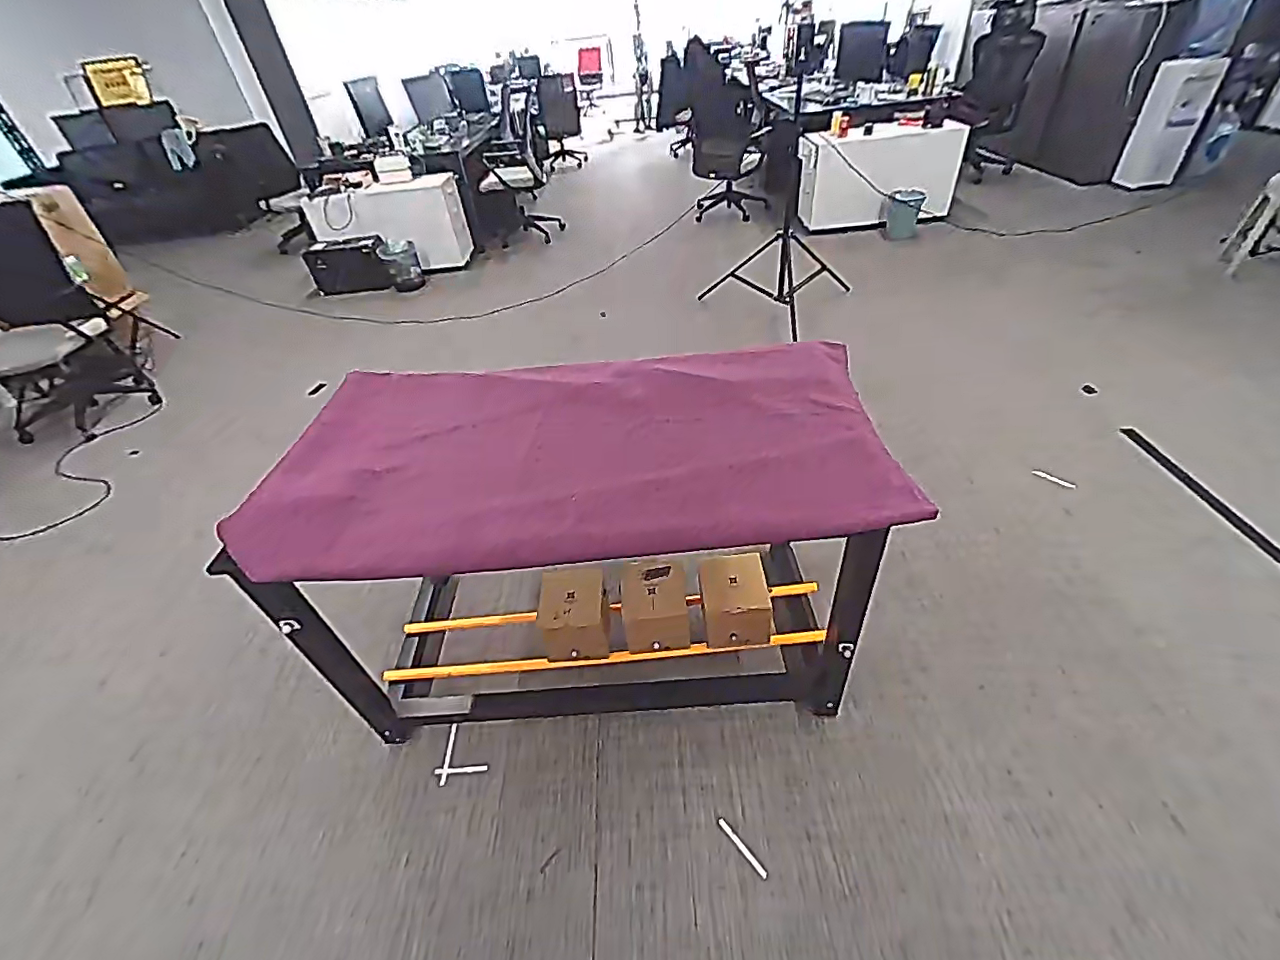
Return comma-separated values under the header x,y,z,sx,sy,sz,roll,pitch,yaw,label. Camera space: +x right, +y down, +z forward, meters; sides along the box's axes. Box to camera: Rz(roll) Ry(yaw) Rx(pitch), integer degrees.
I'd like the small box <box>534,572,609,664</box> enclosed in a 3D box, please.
x,y,z,sx,sy,sz,roll,pitch,yaw,label
-0.175,0.369,1.441,0.168,0.176,0.179,-4,42,3,small box

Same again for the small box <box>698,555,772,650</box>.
x,y,z,sx,sy,sz,roll,pitch,yaw,label
0.244,0.324,1.427,0.168,0.176,0.179,-6,42,2,small box
